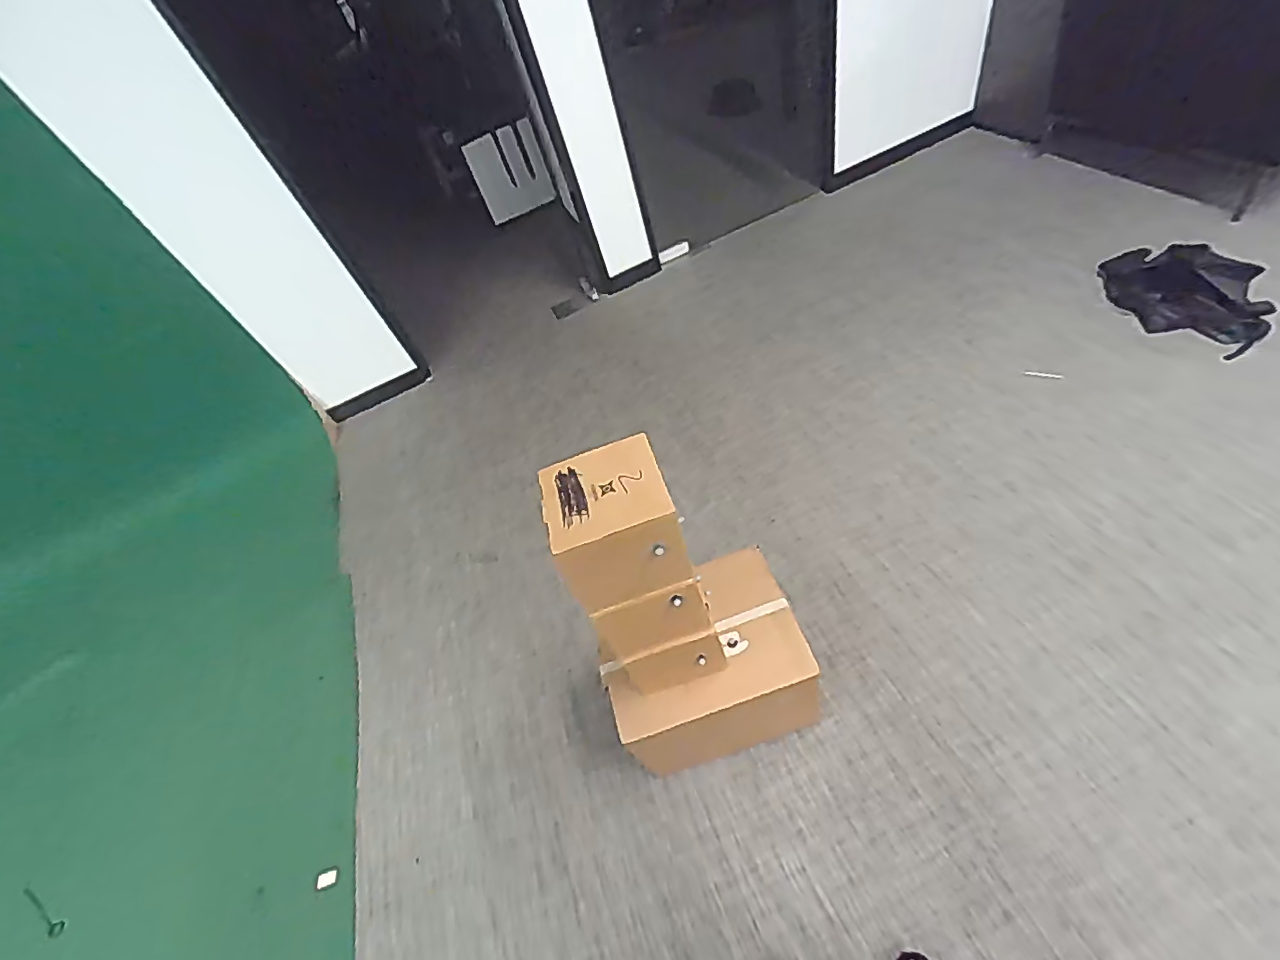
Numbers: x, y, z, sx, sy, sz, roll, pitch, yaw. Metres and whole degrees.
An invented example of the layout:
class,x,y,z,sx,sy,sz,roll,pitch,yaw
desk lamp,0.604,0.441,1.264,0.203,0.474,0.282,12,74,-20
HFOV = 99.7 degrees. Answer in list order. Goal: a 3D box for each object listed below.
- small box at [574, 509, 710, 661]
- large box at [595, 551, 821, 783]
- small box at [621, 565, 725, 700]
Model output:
class,x,y,z,sx,sy,sz,roll,pitch,yaw
small box,0.005,0.185,0.932,0.179,0.176,0.168,-20,47,0
large box,0.152,0.428,1.224,0.408,0.320,0.320,-20,49,0
small box,0.055,0.295,1.041,0.179,0.176,0.168,-21,46,2
